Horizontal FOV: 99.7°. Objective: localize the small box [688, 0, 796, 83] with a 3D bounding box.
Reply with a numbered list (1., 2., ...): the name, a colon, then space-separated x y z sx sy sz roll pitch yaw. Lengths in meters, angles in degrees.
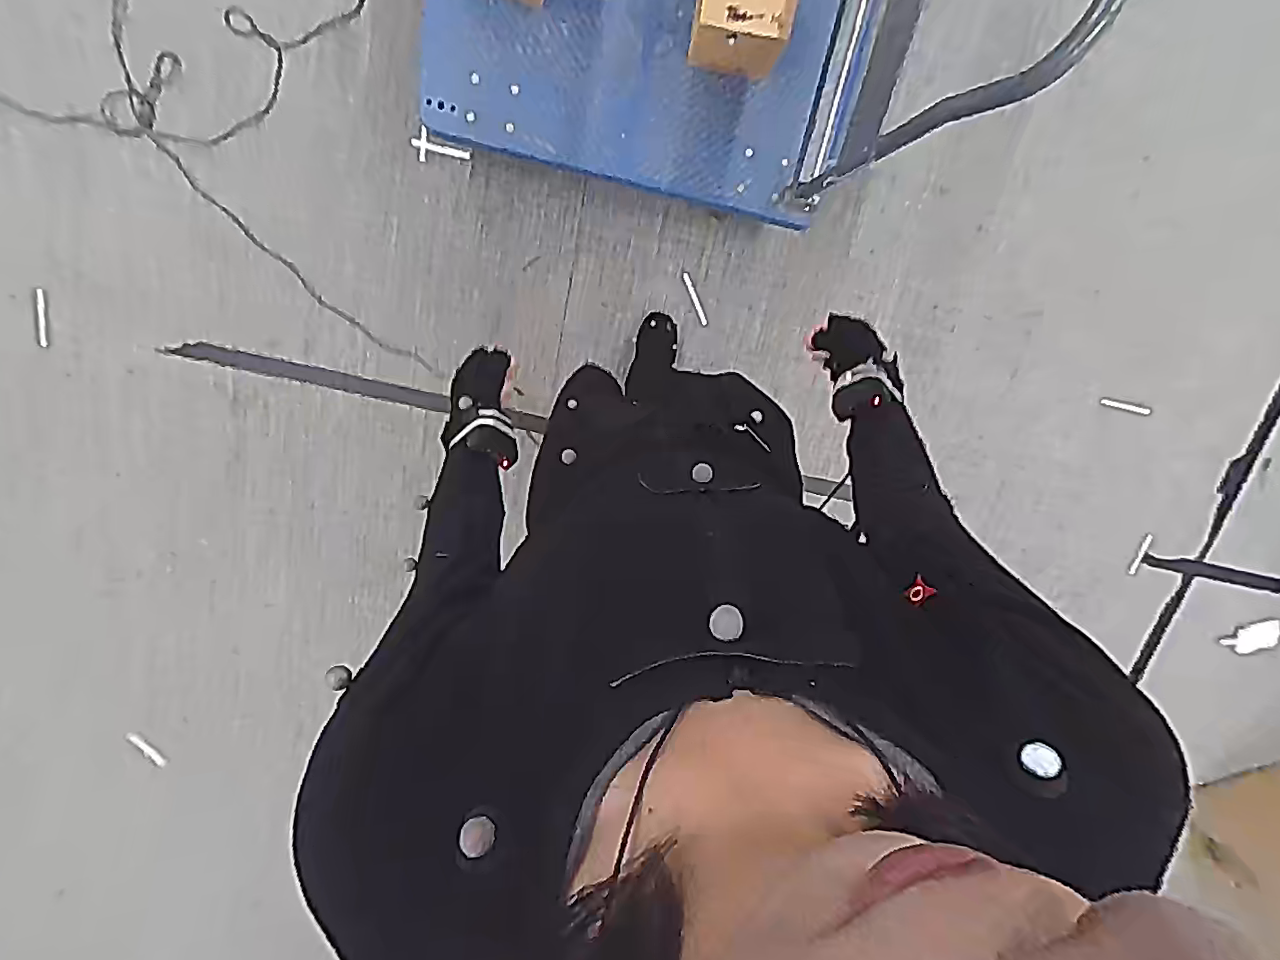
1. small box: 0.191 -0.887 1.005 0.168 0.176 0.179 8 105 -5
